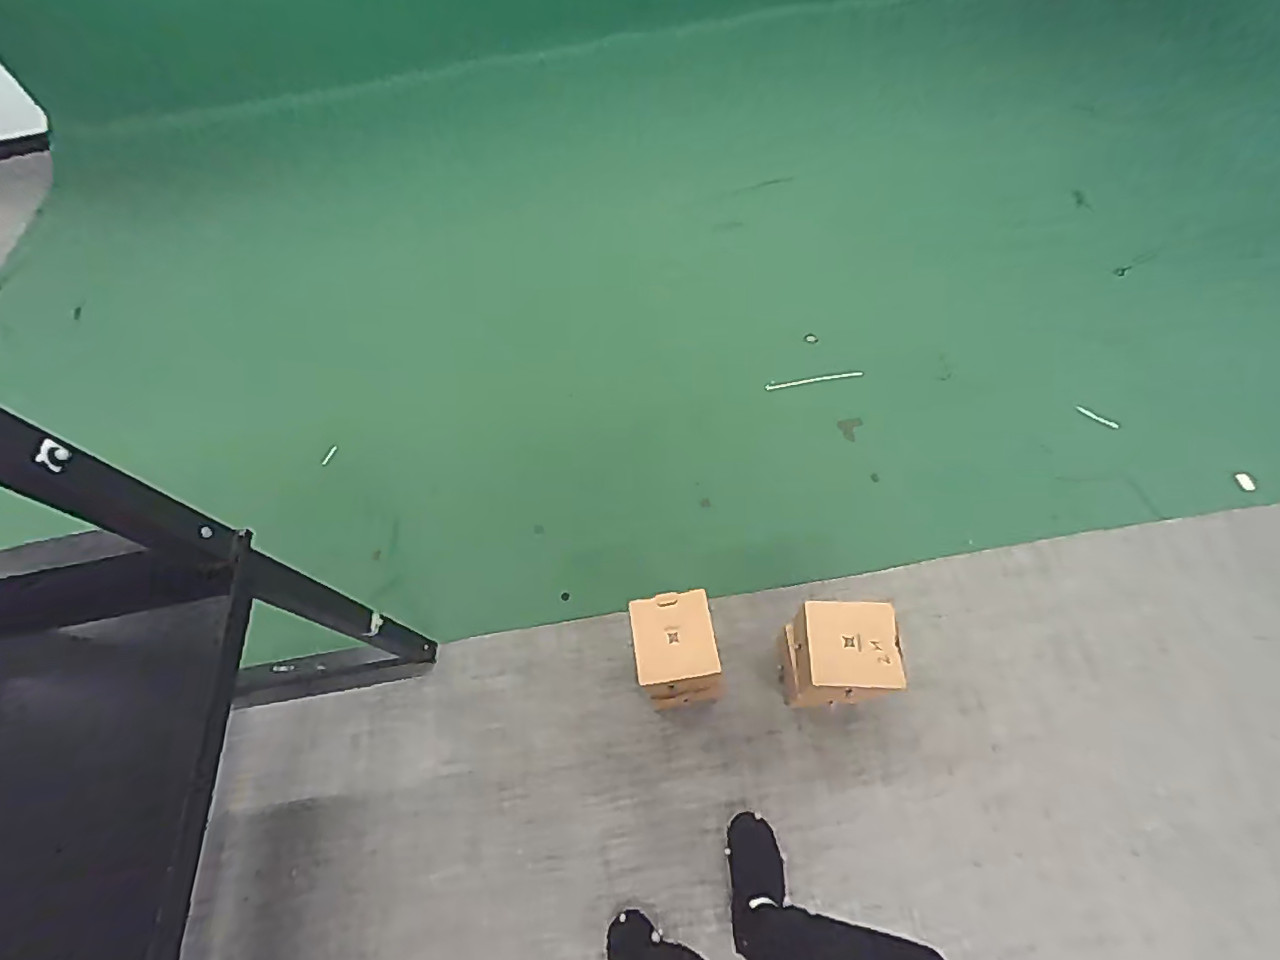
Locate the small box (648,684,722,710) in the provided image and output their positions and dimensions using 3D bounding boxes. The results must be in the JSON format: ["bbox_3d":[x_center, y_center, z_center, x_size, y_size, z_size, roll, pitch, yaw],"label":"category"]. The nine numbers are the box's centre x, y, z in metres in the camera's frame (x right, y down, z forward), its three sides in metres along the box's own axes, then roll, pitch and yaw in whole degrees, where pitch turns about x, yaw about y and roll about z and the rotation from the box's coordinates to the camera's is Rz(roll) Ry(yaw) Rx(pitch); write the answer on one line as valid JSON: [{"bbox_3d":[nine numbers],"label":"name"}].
[{"bbox_3d":[0.097,0.443,1.292,0.168,0.176,0.179,-12,60,0],"label":"small box"}]

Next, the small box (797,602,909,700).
[{"bbox_3d":[0.425,0.356,1.114,0.179,0.176,0.168,0,62,6],"label":"small box"}]

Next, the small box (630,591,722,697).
[{"bbox_3d":[0.079,0.357,1.155,0.168,0.176,0.179,-11,59,1],"label":"small box"}]
